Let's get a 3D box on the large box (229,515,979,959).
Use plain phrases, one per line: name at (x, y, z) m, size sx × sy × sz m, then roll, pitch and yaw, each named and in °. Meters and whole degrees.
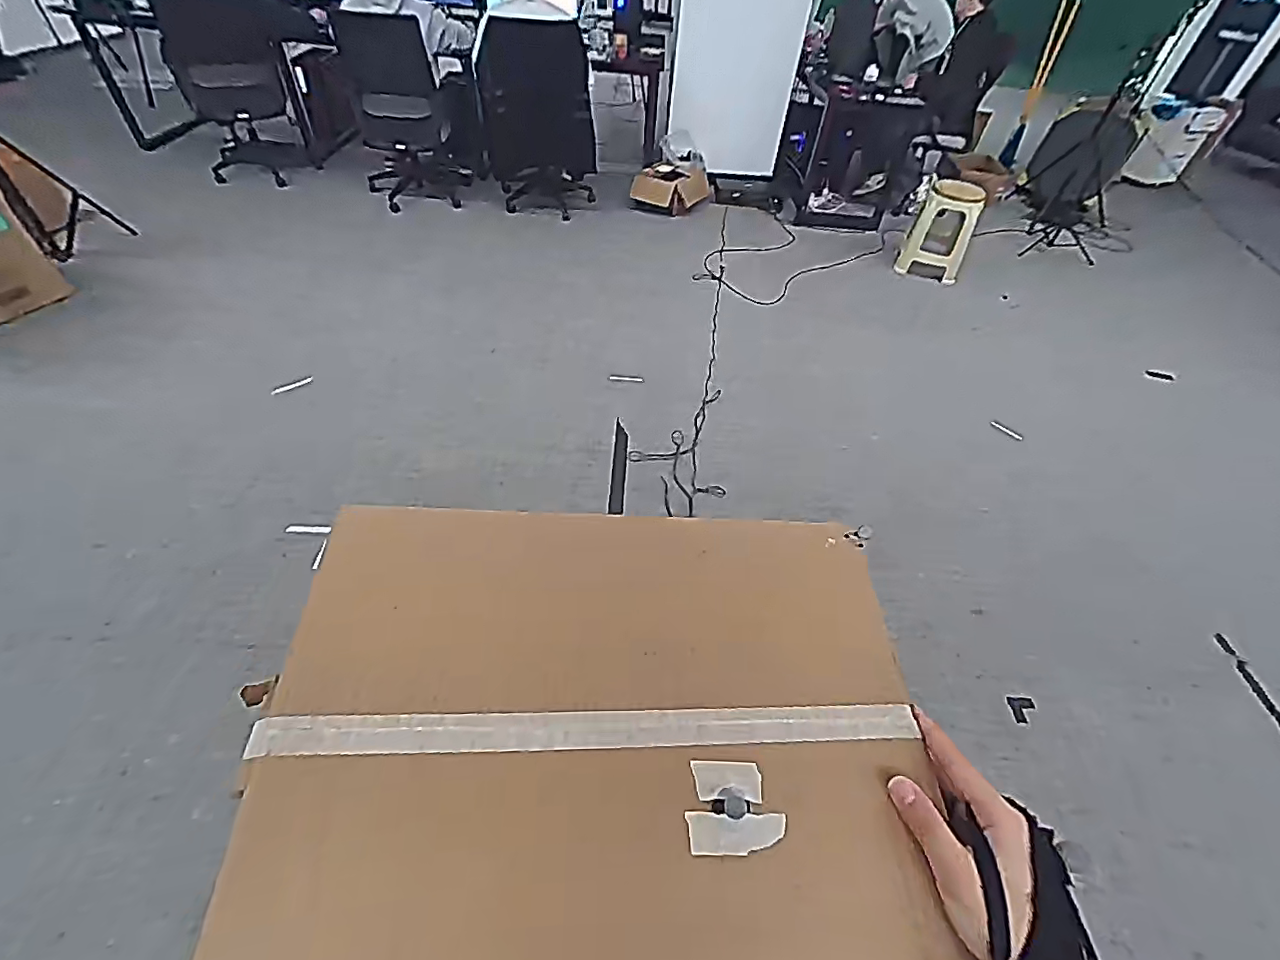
large box at (-0.034, 0.245, 0.469) m, size 0.408 × 0.320 × 0.320 m, roll 3°, pitch 55°, yaw -9°
